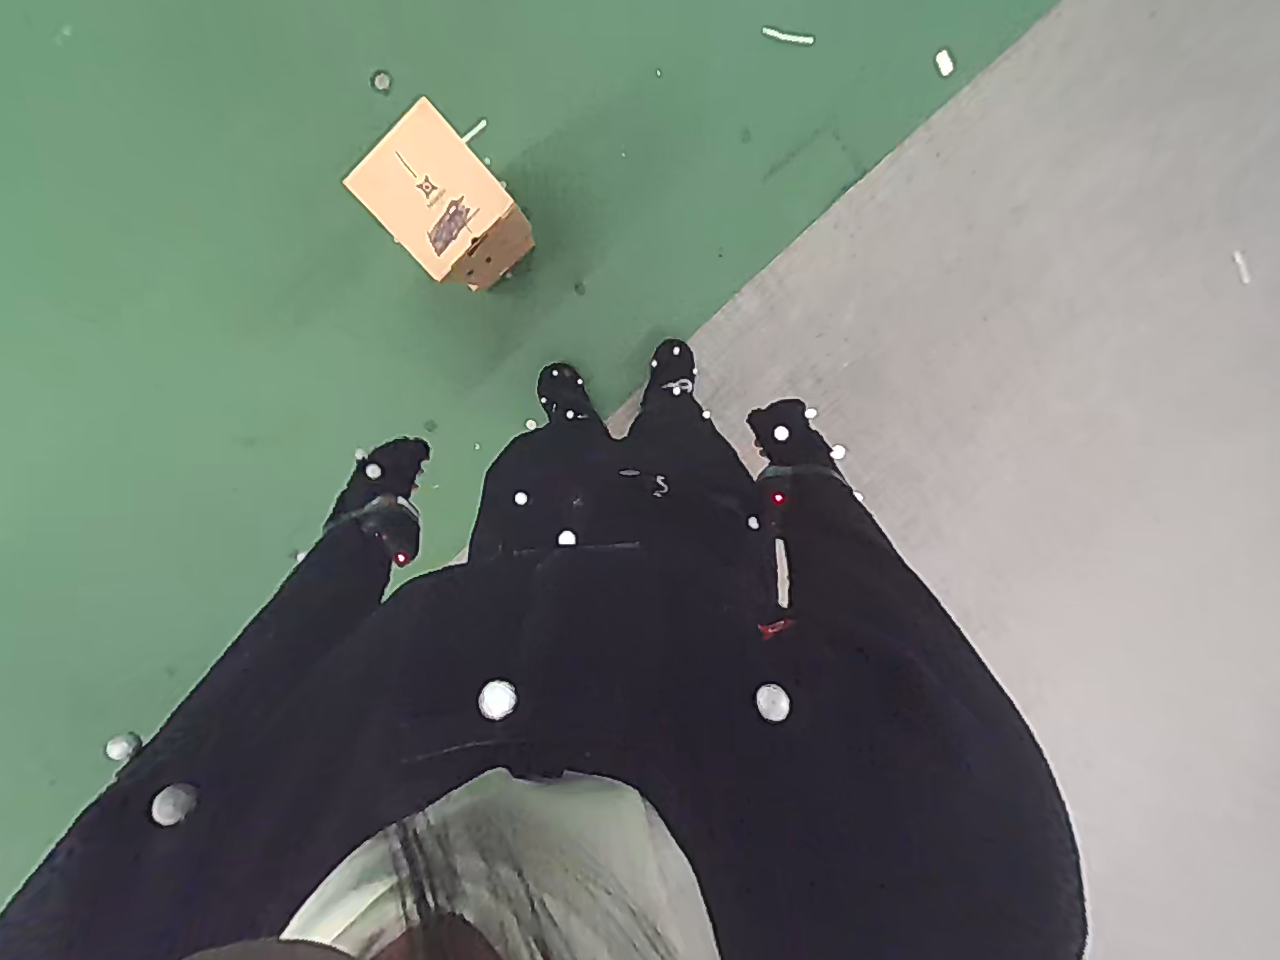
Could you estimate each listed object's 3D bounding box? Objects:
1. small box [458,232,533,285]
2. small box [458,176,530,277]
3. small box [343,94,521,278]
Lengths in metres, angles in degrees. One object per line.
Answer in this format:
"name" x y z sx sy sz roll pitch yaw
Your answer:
"small box" -0.343 -0.526 1.130 0.168 0.176 0.179 -38 109 8
"small box" -0.322 -0.491 0.991 0.168 0.176 0.179 -41 108 8
"small box" -0.304 -0.436 0.836 0.168 0.176 0.179 -41 108 7
